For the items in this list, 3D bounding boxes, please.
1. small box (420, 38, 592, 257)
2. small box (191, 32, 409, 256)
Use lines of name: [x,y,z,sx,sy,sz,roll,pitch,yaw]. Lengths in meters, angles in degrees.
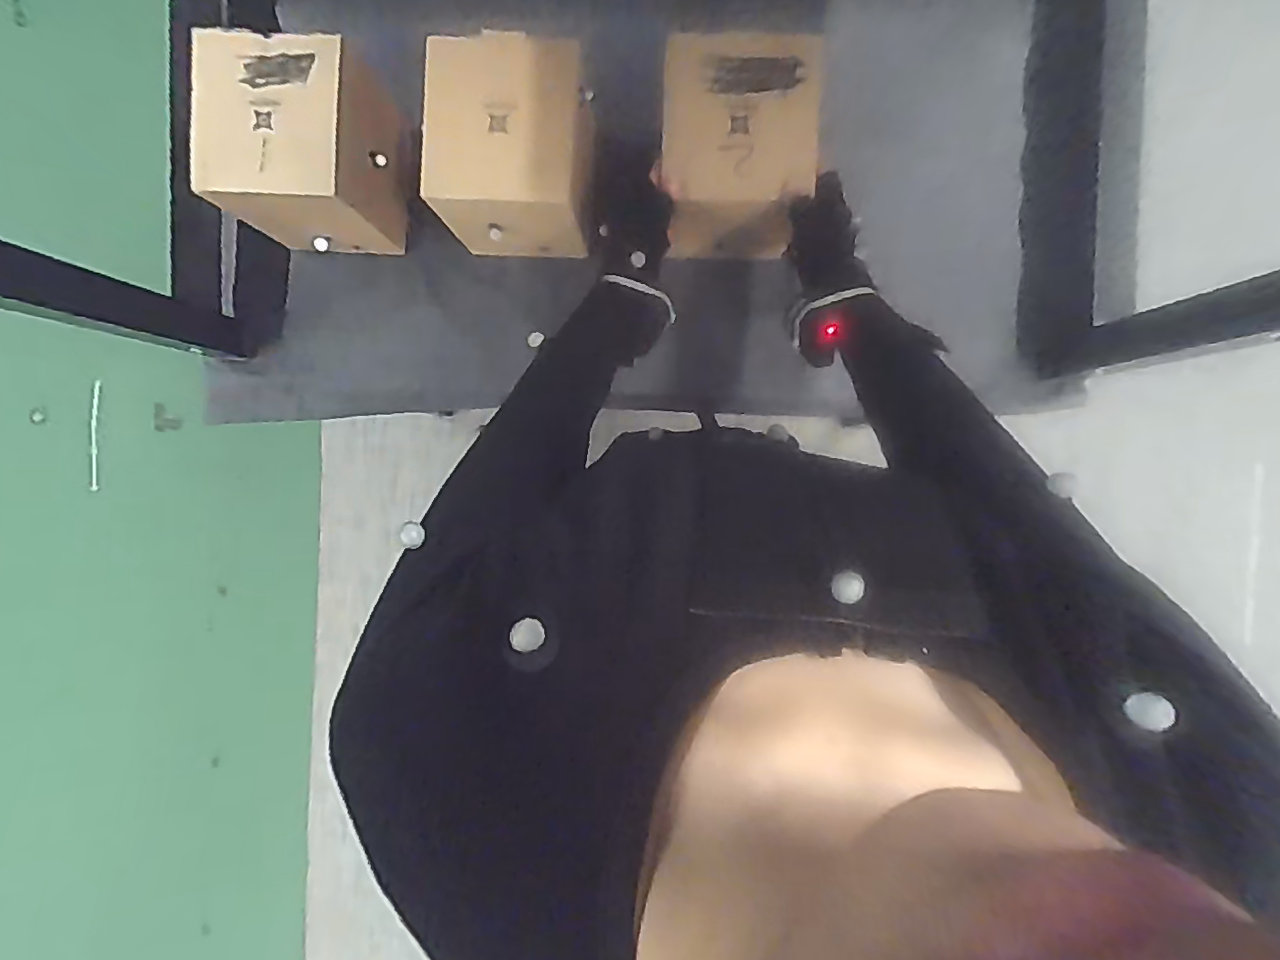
small box: [-0.152,-0.391,0.666,0.168,0.176,0.179,3,91,2]
small box: [-0.405,-0.401,0.671,0.168,0.176,0.179,3,92,2]
